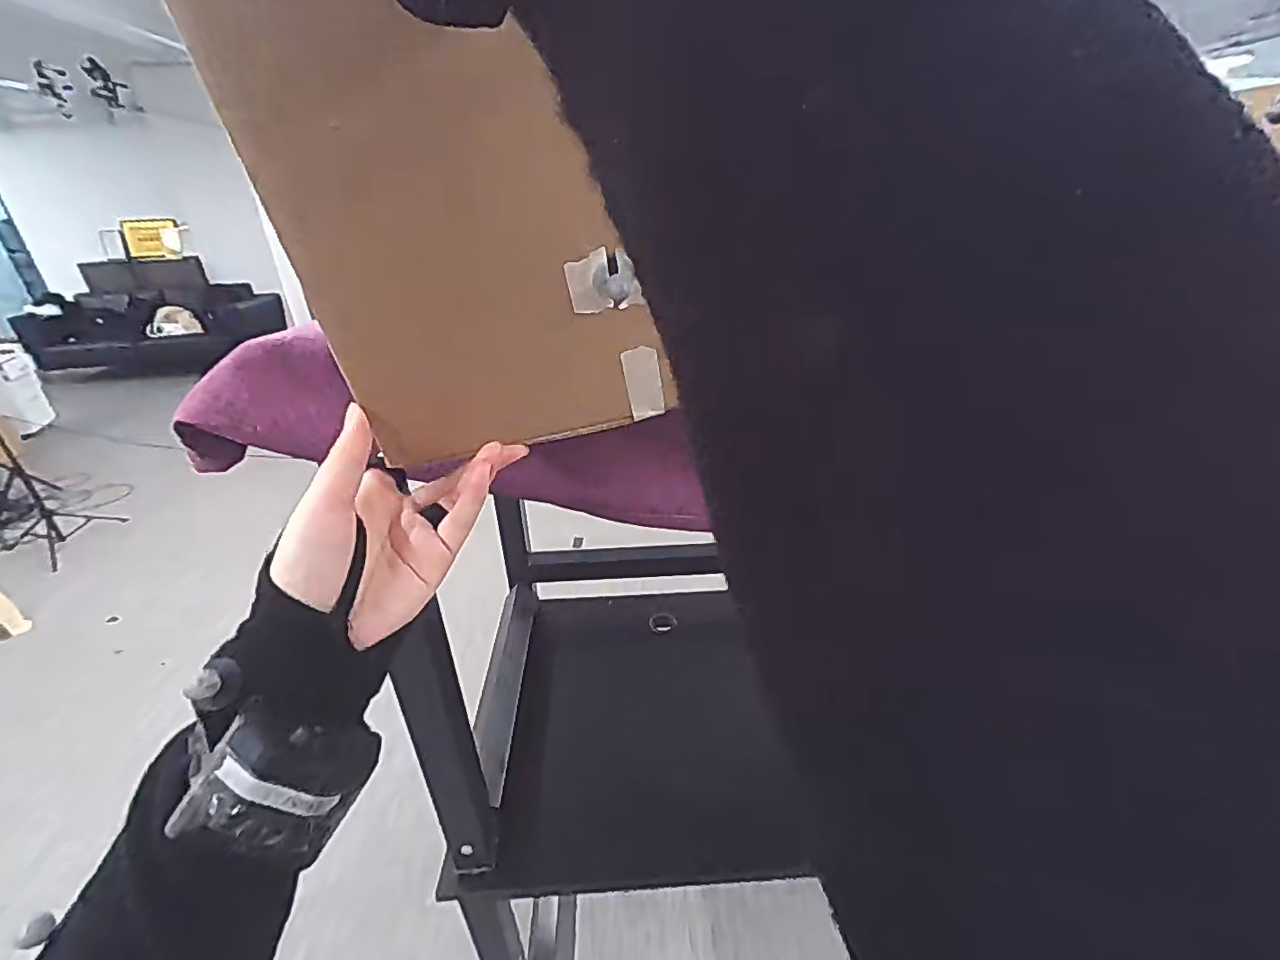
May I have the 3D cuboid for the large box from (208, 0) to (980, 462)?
[{"bbox_3d":[-0.053,-0.276,0.361,0.320,0.320,0.408,-13,45,-12],"label":"large box"}]
